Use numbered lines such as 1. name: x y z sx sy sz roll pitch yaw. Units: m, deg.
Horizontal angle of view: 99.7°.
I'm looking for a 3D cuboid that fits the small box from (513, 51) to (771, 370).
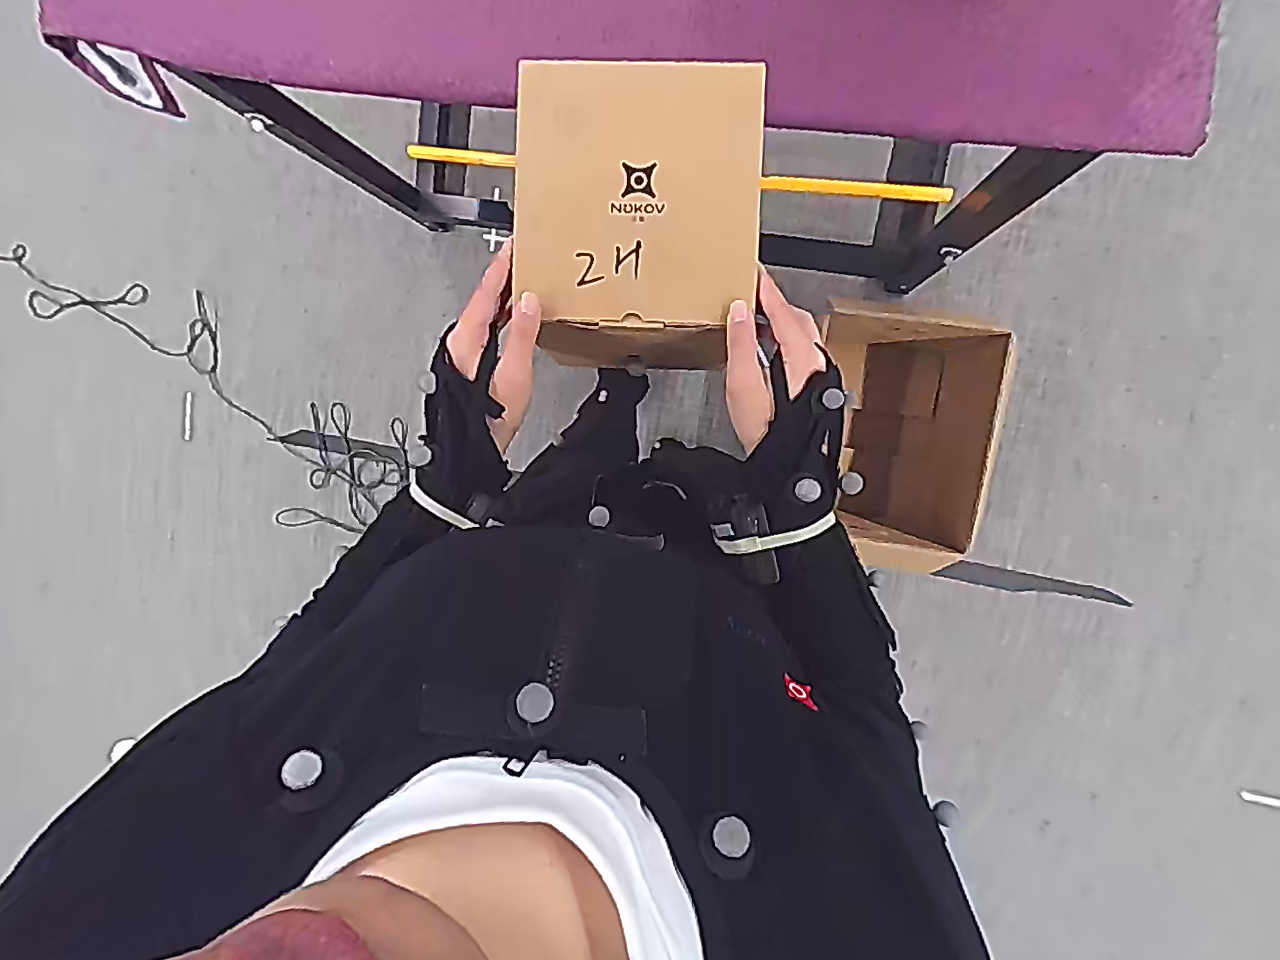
1. small box: 0.003 -0.196 0.438 0.168 0.176 0.179 3 91 2
